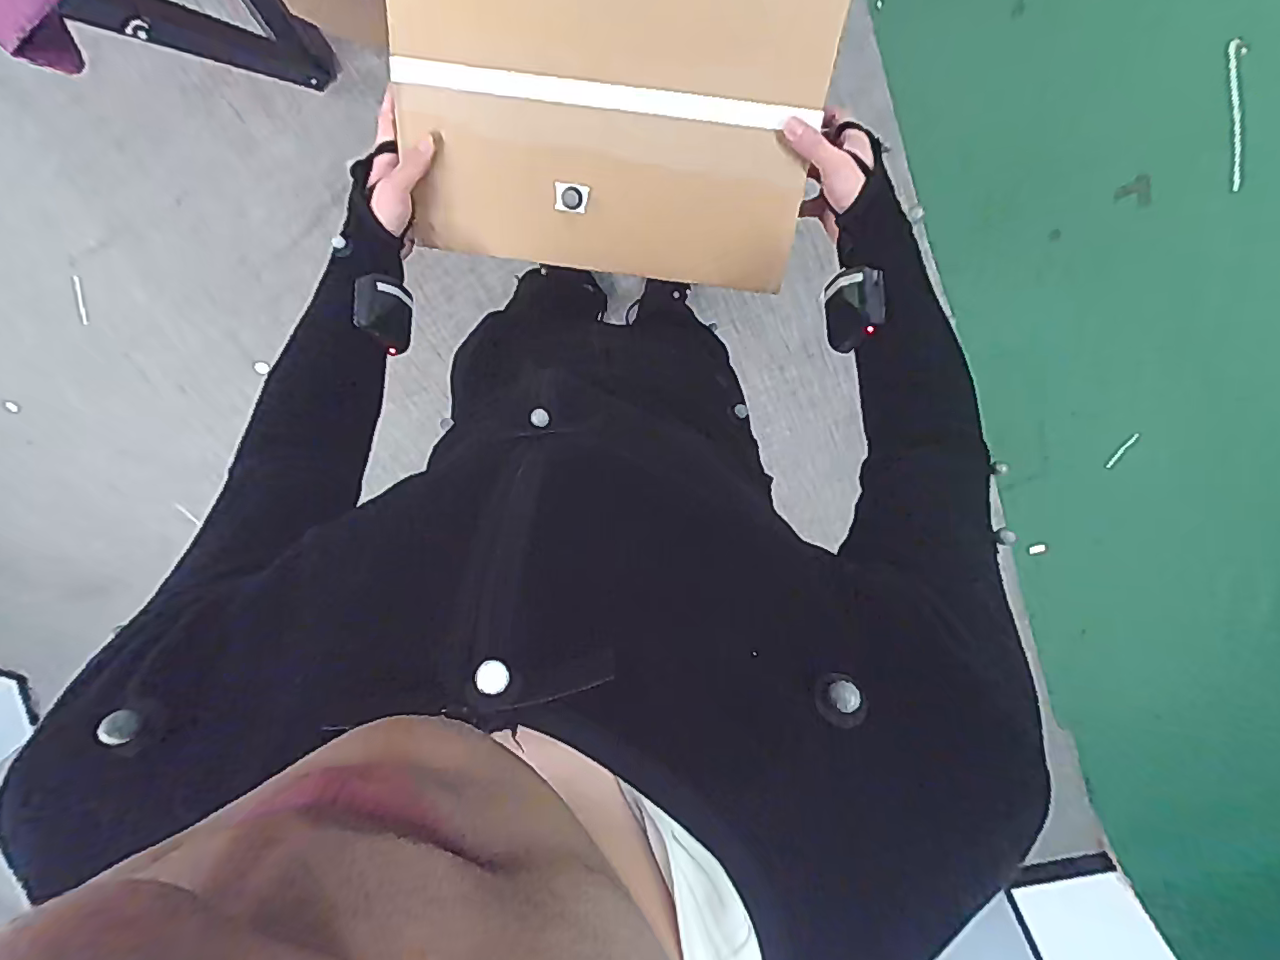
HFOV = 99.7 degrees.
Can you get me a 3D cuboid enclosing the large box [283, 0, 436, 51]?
[{"bbox_3d":[-0.591,-1.146,1.016,0.320,0.320,0.408,-24,112,16],"label":"large box"}]
